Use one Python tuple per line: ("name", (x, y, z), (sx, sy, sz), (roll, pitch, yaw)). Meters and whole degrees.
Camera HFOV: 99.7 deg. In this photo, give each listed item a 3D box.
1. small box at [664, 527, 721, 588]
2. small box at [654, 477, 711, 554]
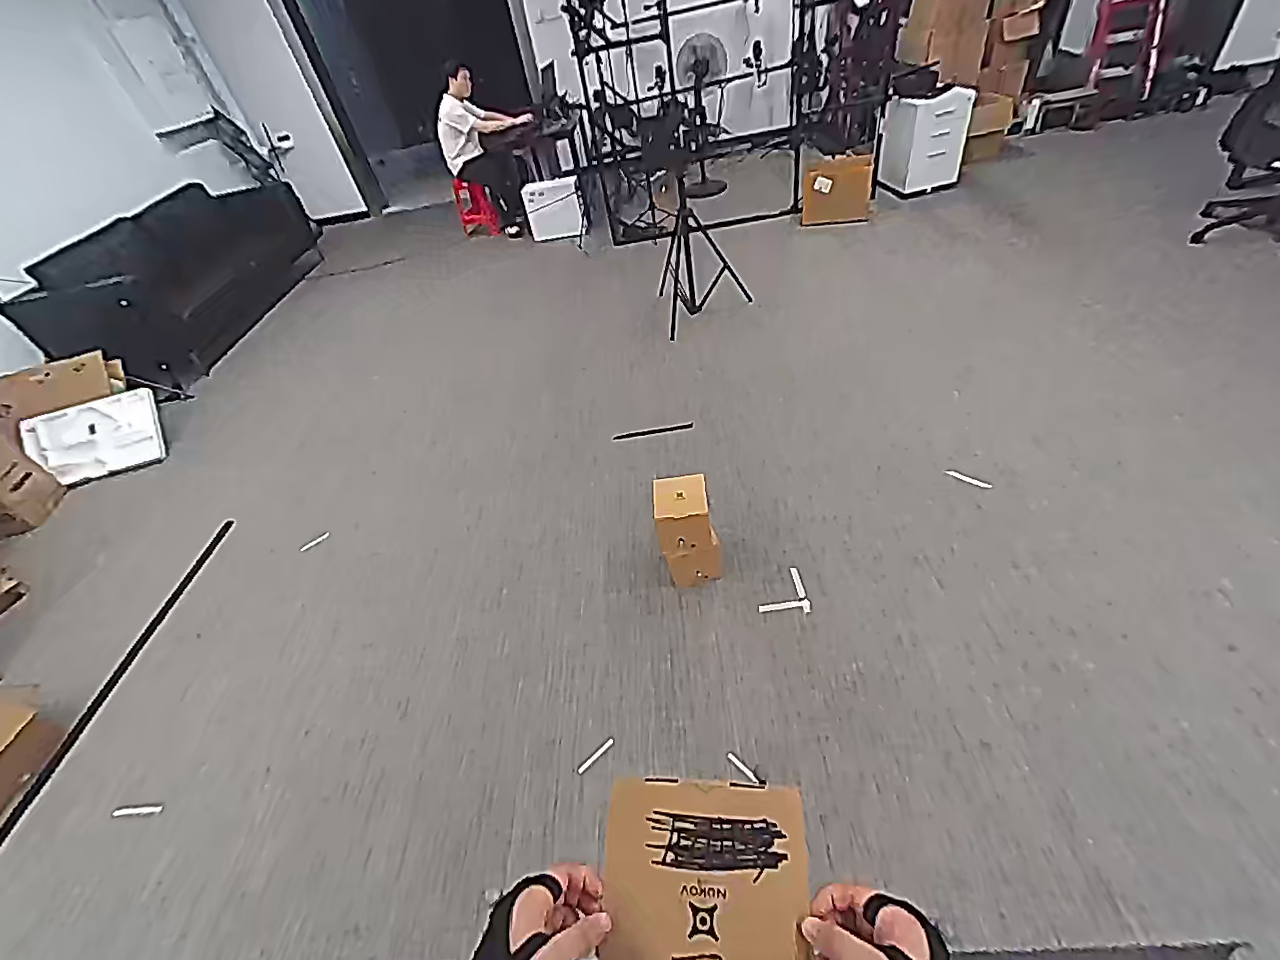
("small box", (0.168, 0.236, 1.834), (0.168, 0.176, 0.179), (-16, 42, -3))
("small box", (0.135, 0.114, 1.731), (0.168, 0.176, 0.179), (-7, 42, 6))
